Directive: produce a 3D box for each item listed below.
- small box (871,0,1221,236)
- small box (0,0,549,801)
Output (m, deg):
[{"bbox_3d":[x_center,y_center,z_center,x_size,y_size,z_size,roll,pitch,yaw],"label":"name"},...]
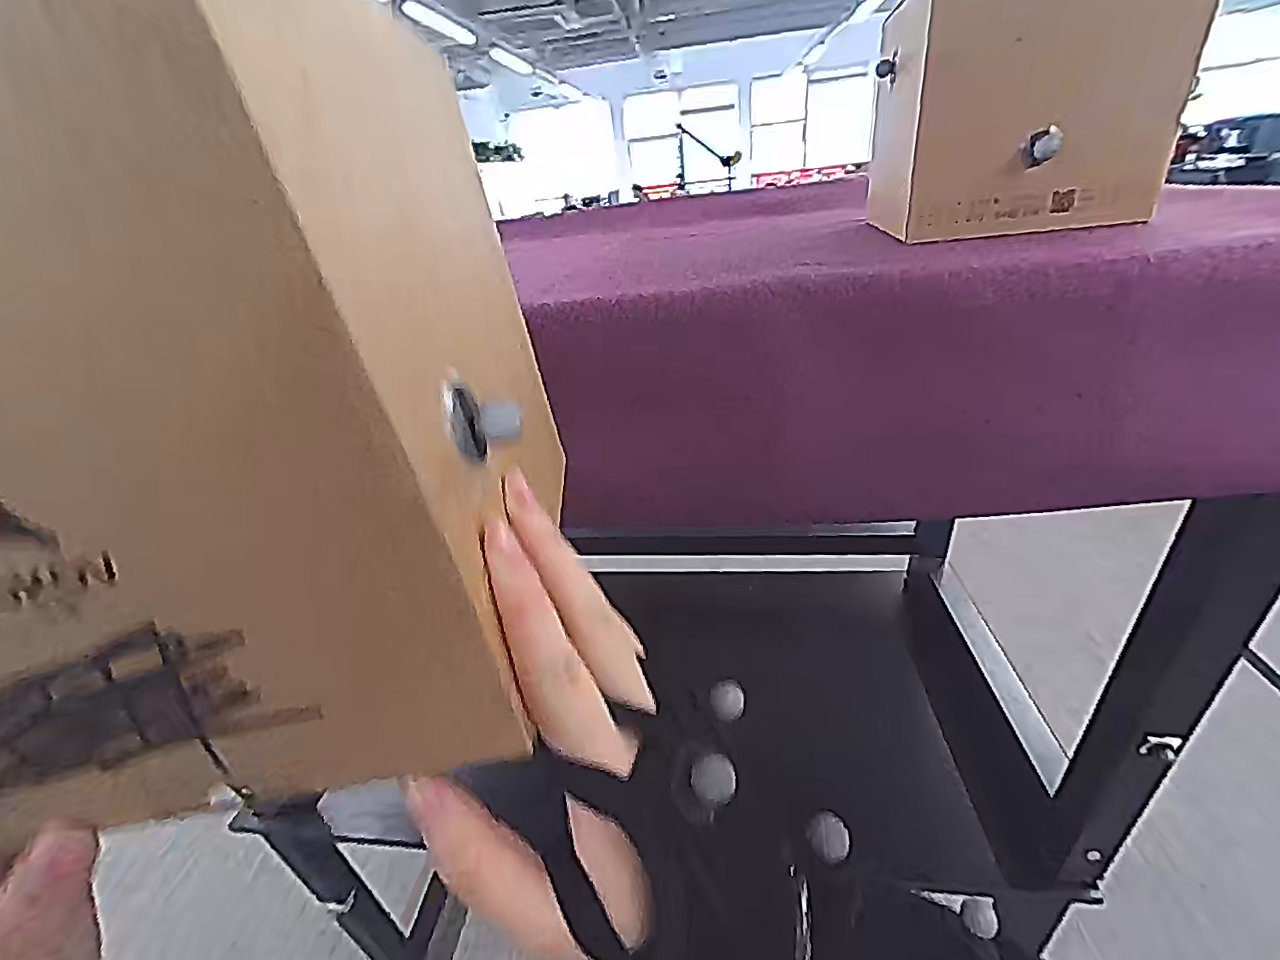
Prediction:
[{"bbox_3d":[0.292,-0.298,0.433,0.168,0.176,0.179,-1,30,12],"label":"small box"},{"bbox_3d":[-0.132,-0.039,0.169,0.168,0.179,0.176,-11,28,1],"label":"small box"}]
